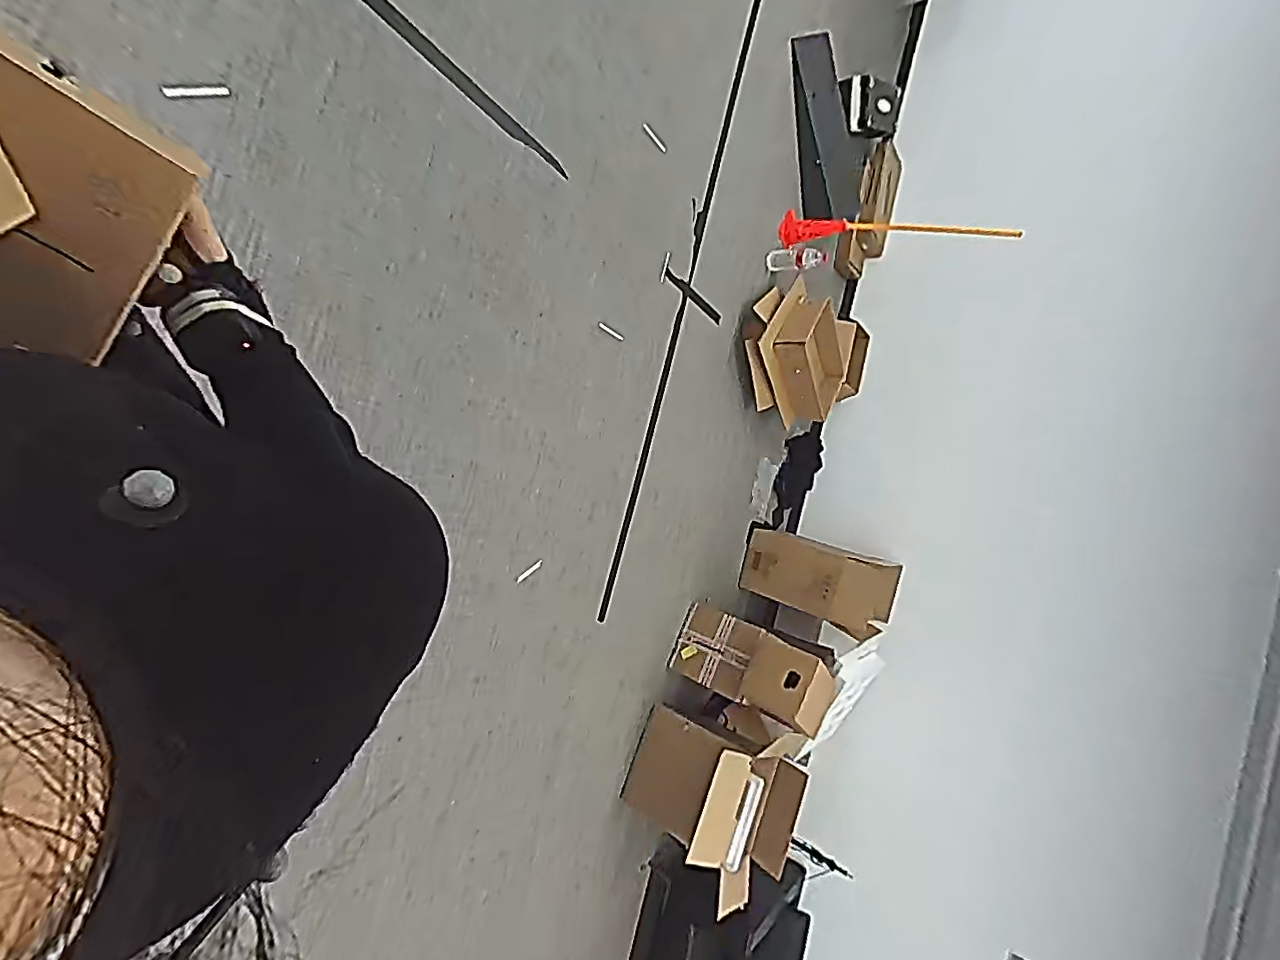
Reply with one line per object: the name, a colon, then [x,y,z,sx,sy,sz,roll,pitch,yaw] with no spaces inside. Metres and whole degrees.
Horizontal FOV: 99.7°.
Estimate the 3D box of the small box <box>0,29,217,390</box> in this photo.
small box: [-0.419,-0.191,0.355,0.179,0.176,0.168,31,97,-46]
